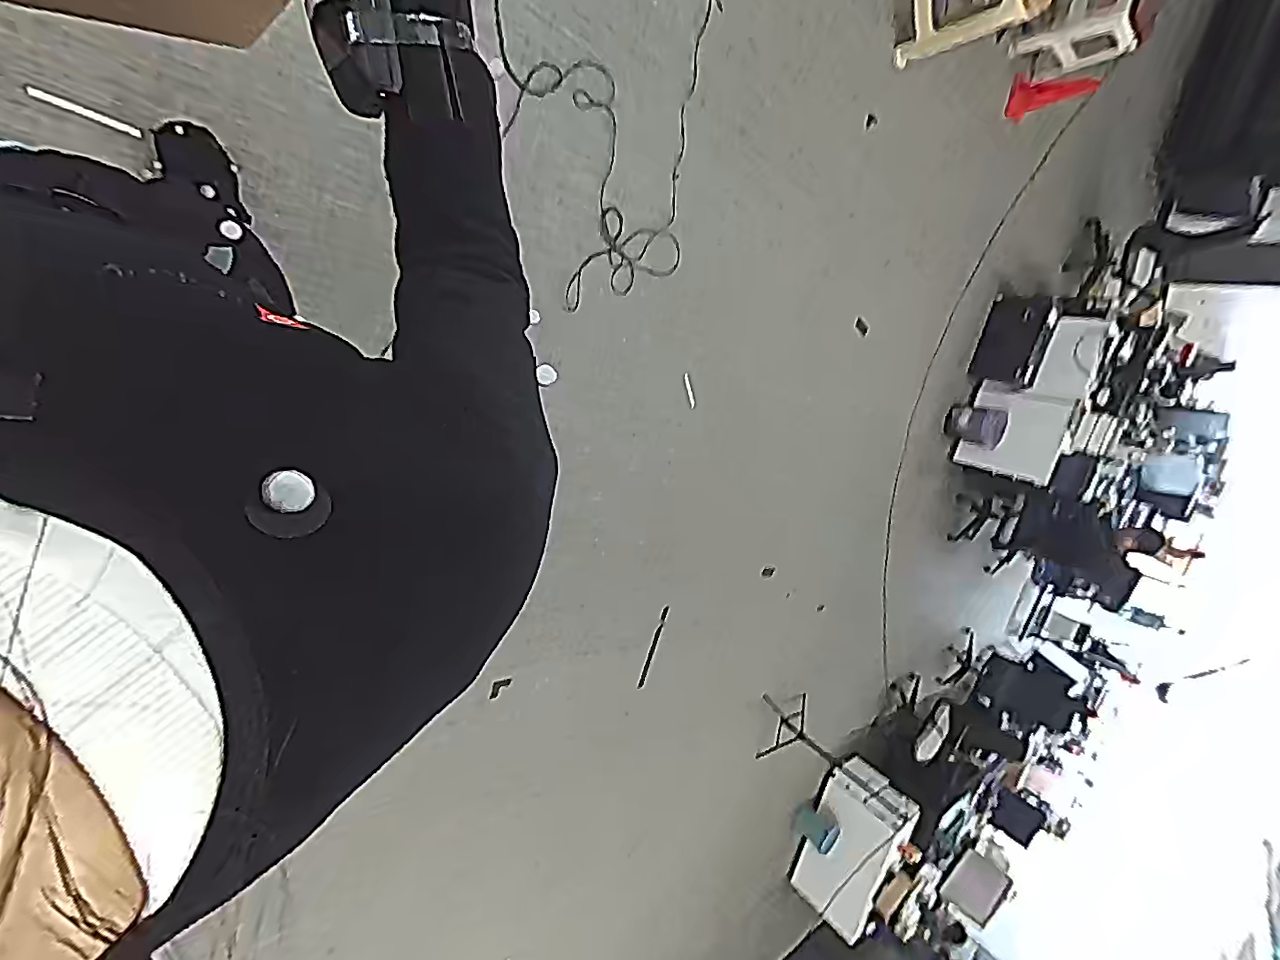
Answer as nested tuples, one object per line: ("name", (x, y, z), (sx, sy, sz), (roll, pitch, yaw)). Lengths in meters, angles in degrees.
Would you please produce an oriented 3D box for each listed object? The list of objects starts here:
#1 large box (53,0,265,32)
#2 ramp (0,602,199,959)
("large box", (-0.408, -0.431, 0.207), (0.408, 0.320, 0.320), (-19, 125, -37))
("ramp", (-1.294, 0.742, 1.098), (0.509, 0.206, 0.991), (9, 101, -41))
